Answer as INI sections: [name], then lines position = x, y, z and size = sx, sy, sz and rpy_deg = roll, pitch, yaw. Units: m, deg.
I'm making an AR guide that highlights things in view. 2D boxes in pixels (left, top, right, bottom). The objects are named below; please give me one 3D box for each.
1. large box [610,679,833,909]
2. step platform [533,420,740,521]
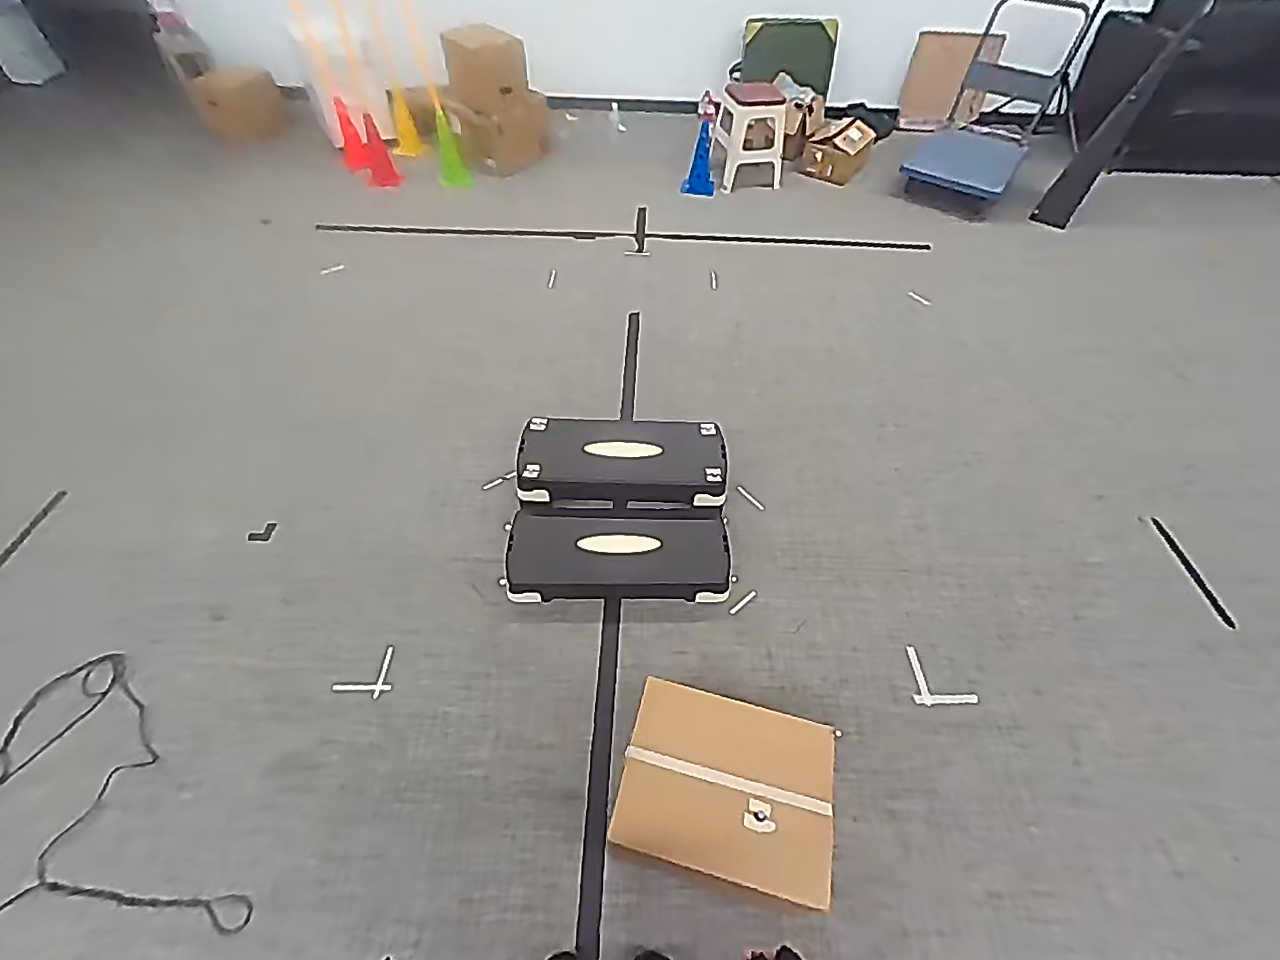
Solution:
[large box]
position = 0.166, 0.682, 1.177
size = 0.408, 0.320, 0.320
rpy_deg = 14, 52, 8
[step platform]
position = -0.013, -0.036, 1.814
size = 0.684, 0.204, 0.286
rpy_deg = 2, 51, -2
